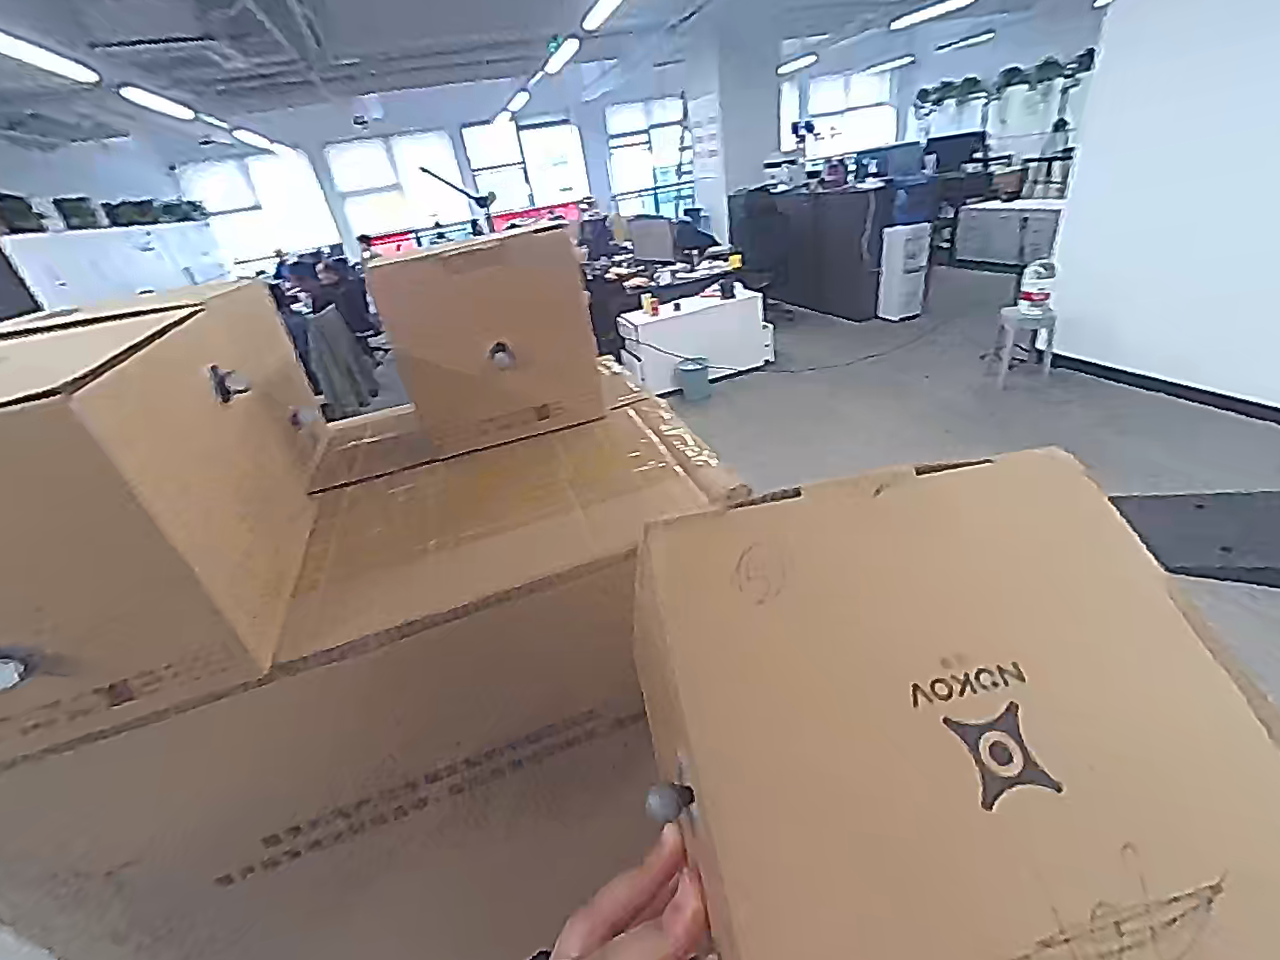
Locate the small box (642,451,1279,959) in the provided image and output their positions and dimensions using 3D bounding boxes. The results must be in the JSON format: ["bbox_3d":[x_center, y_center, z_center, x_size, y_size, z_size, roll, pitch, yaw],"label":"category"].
[{"bbox_3d":[0.095,0.115,0.218,0.168,0.176,0.179,-10,59,-6],"label":"small box"}]

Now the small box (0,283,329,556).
[{"bbox_3d":[-0.403,-0.059,0.462,0.179,0.176,0.168,-16,29,-13],"label":"small box"}]
